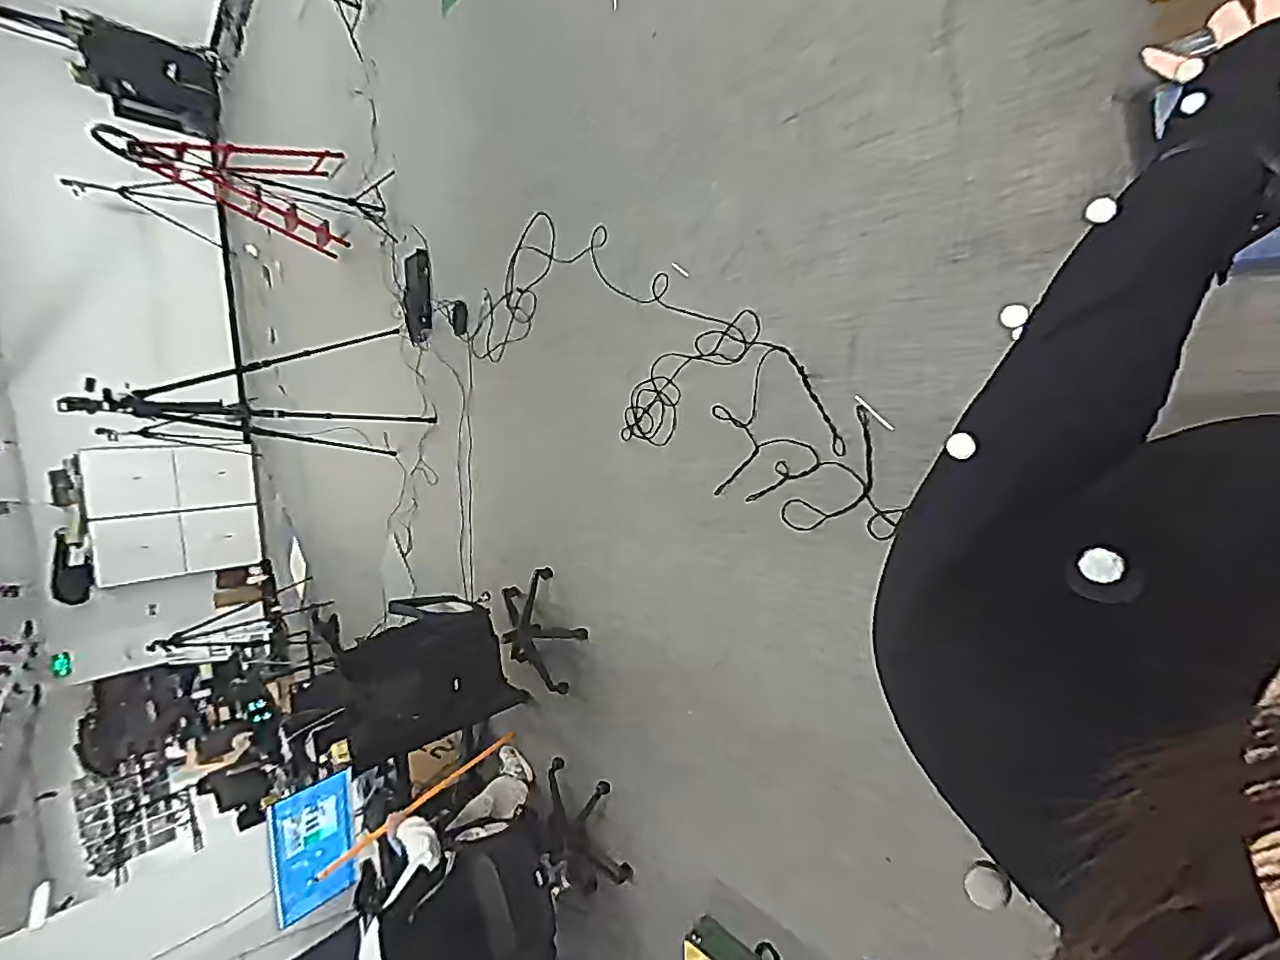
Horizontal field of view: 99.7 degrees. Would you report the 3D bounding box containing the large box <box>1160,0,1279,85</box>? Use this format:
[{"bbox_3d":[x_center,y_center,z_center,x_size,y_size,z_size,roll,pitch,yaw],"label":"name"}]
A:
[{"bbox_3d":[0.954,-0.783,0.675,0.408,0.320,0.320,15,106,42],"label":"large box"}]
